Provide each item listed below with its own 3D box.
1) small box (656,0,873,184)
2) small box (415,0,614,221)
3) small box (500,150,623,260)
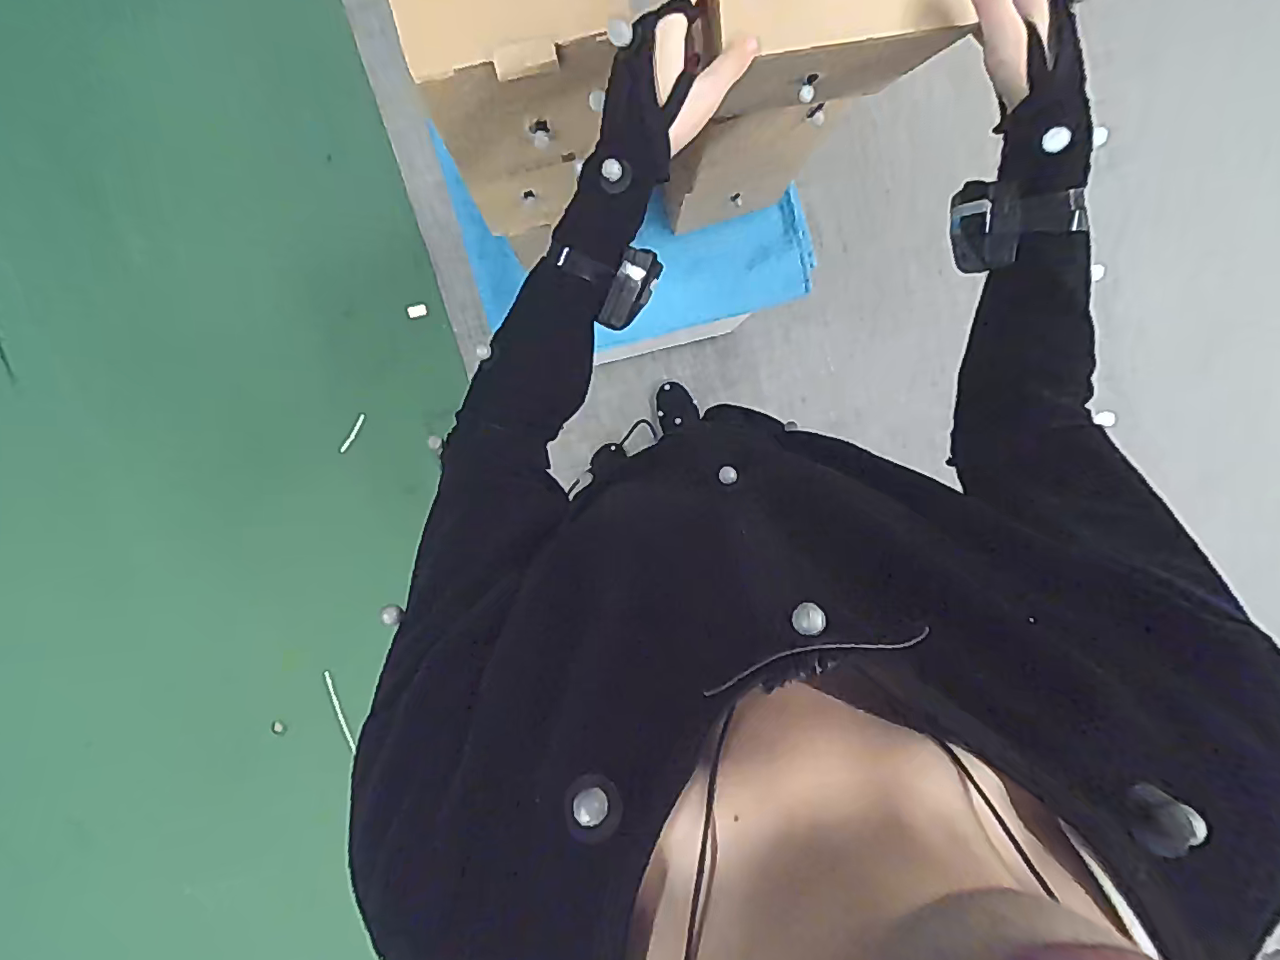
[{"bbox_3d":[0.125,-0.470,0.609,0.179,0.176,0.168,-17,95,0],"label":"small box"},{"bbox_3d":[-0.125,-0.414,0.608,0.168,0.176,0.179,-13,95,-2],"label":"small box"},{"bbox_3d":[-0.122,-0.431,0.769,0.168,0.176,0.179,-15,95,-3],"label":"small box"}]
